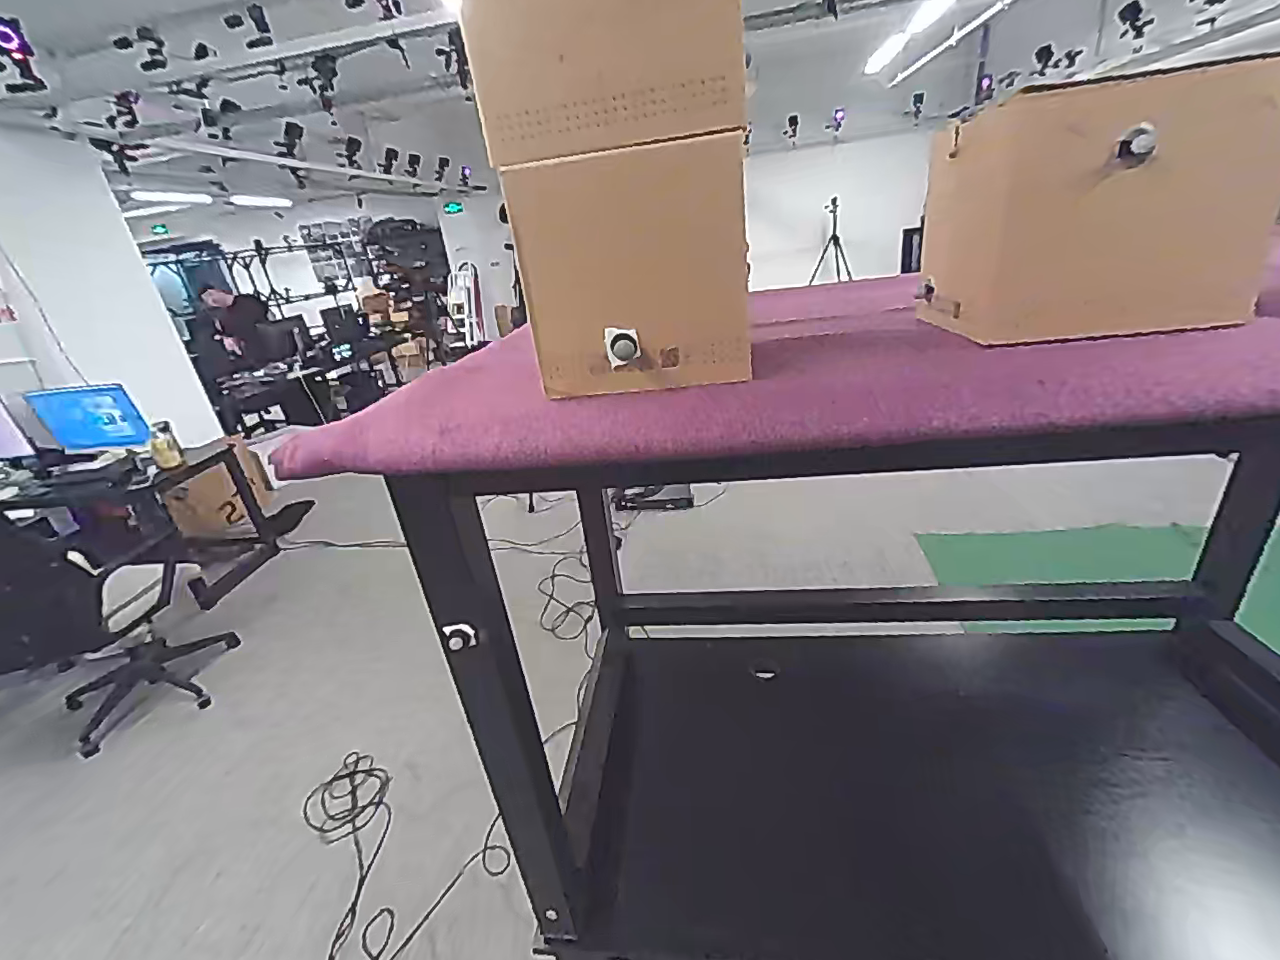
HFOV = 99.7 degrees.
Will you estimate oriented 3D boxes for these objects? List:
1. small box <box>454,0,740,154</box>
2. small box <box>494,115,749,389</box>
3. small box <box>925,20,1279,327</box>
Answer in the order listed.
[{"bbox_3d":[-0.029,-0.332,0.390,0.179,0.176,0.168,-6,25,6],"label":"small box"},{"bbox_3d":[-0.002,-0.184,0.457,0.168,0.176,0.179,-6,26,6],"label":"small box"},{"bbox_3d":[0.346,-0.223,0.434,0.179,0.176,0.168,-3,24,9],"label":"small box"}]
